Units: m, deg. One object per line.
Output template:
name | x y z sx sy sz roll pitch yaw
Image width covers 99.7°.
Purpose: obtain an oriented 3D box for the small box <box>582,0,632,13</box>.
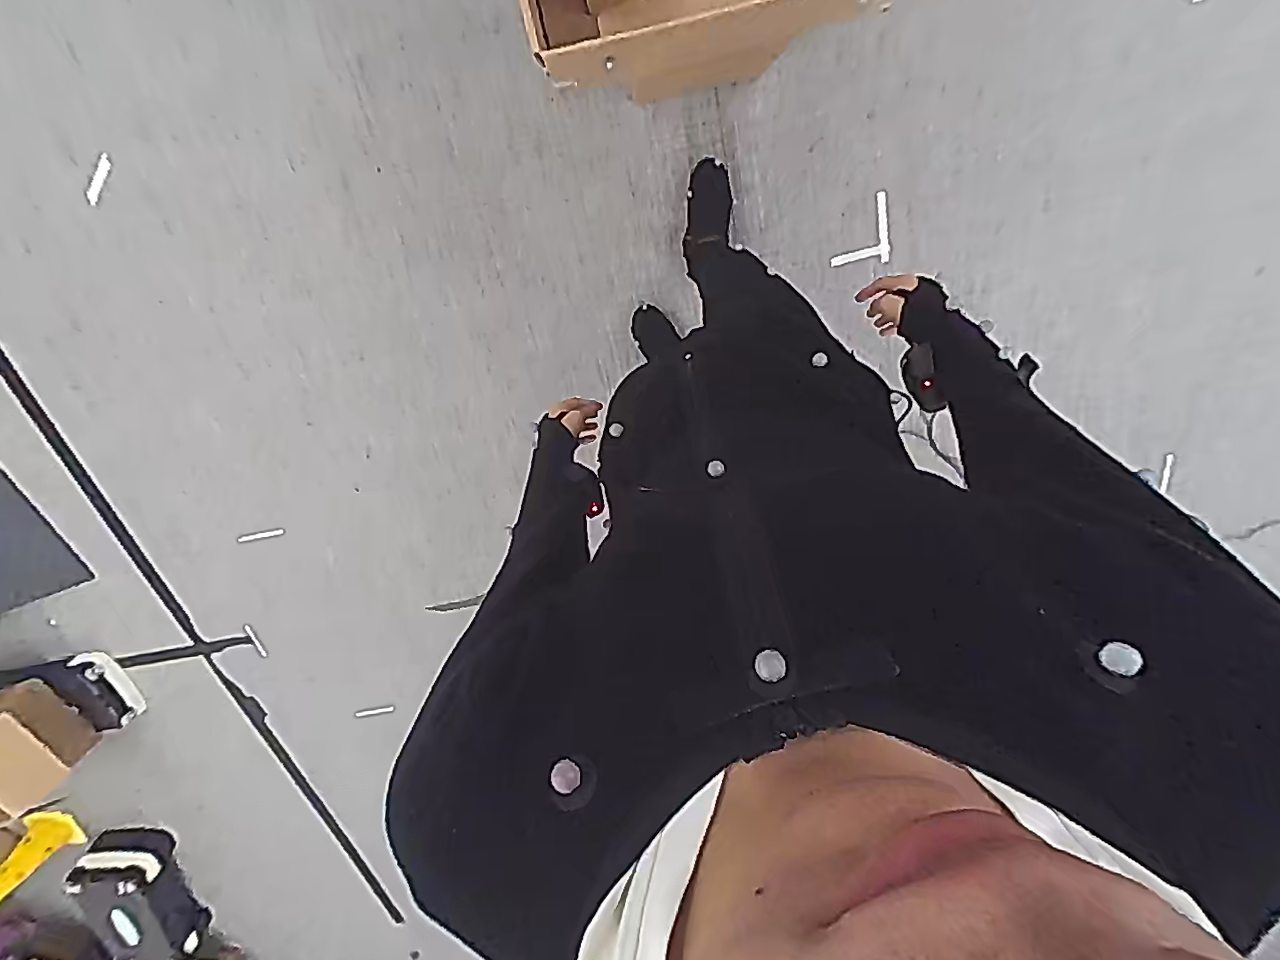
small box | -0.027 -0.834 0.787 0.179 0.176 0.168 -15 113 7
